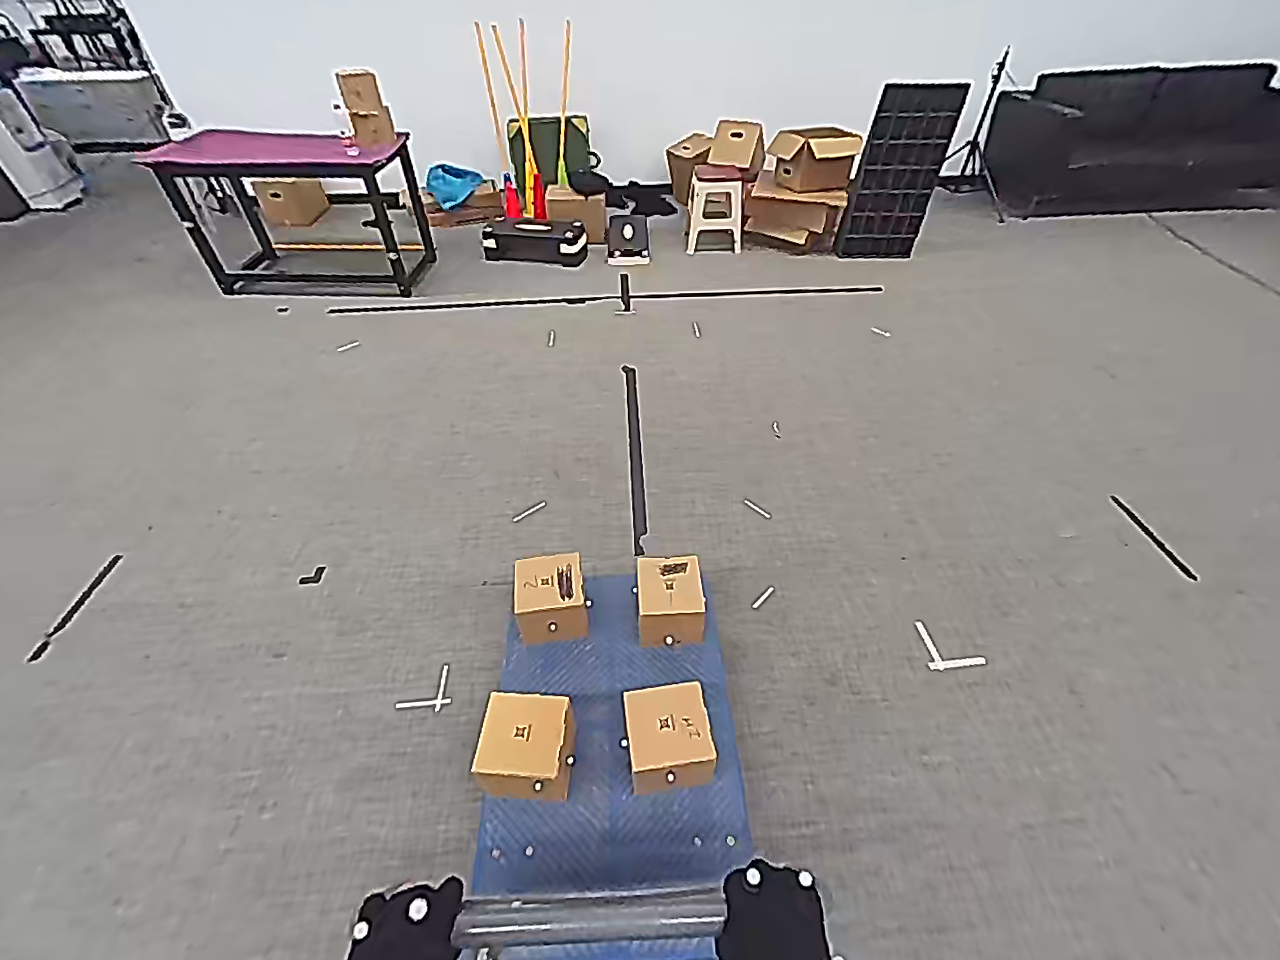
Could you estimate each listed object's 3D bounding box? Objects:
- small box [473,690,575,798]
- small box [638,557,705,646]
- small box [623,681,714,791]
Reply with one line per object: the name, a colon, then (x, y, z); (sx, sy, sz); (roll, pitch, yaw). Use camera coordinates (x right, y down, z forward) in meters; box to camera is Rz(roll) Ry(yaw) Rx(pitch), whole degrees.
small box: (-0.247, 0.587, 1.198); (0.179, 0.176, 0.168); (3, 44, 2)
small box: (0.078, 0.327, 1.456); (0.168, 0.176, 0.179); (-2, 46, -1)
small box: (0.059, 0.574, 1.206); (0.179, 0.176, 0.168); (-6, 45, -5)
